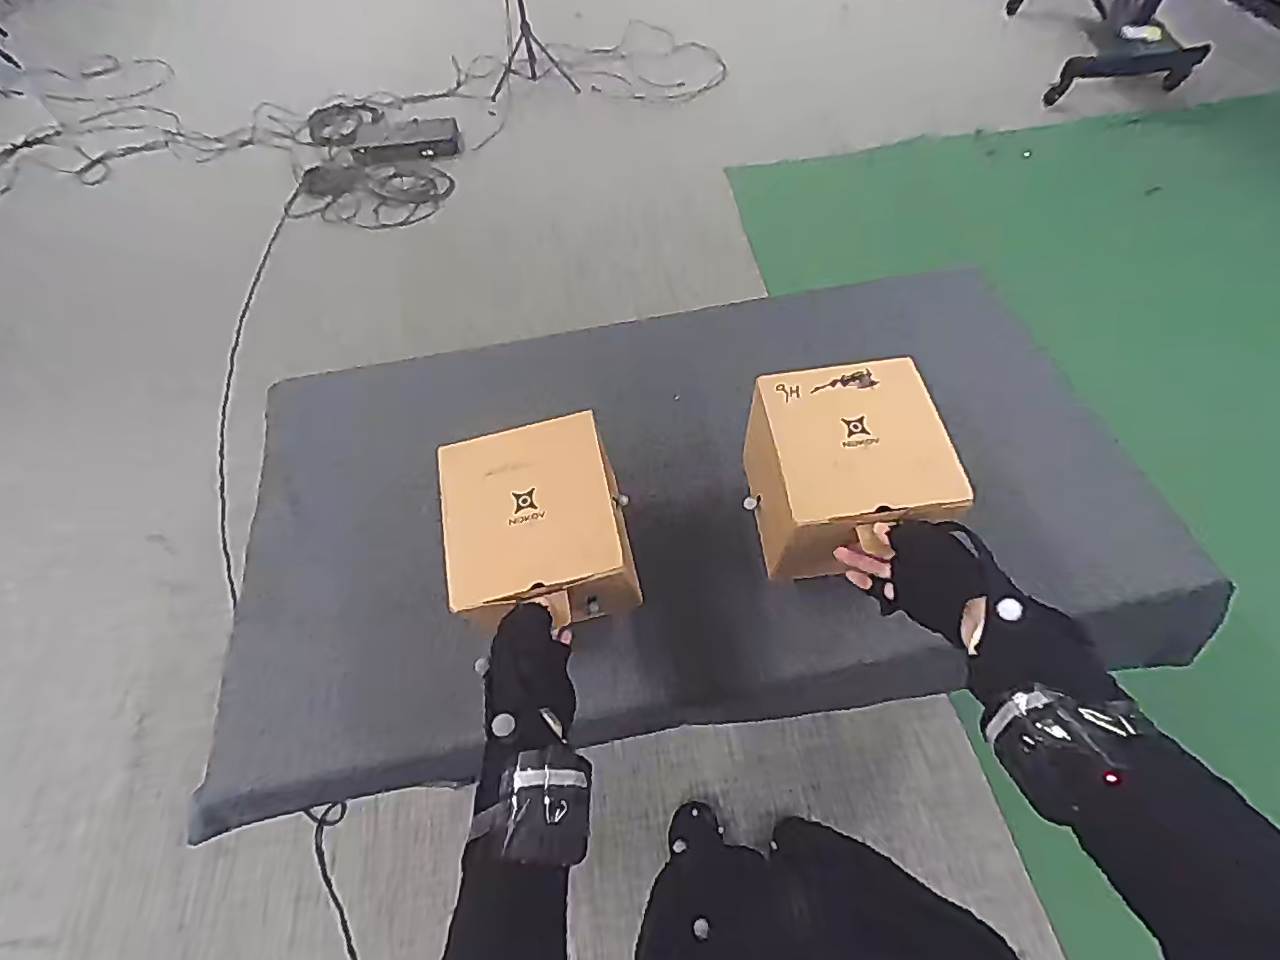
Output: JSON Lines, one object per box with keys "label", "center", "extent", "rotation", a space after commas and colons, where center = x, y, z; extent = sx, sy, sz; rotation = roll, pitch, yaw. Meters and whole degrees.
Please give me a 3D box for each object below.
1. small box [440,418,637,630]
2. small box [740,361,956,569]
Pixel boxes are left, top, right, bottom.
{"label": "small box", "center": [-0.105, 0.061, 0.609], "extent": [0.168, 0.176, 0.179], "rotation": [-15, 65, -1]}
{"label": "small box", "center": [0.213, -0.005, 0.612], "extent": [0.168, 0.176, 0.179], "rotation": [-7, 63, 1]}
